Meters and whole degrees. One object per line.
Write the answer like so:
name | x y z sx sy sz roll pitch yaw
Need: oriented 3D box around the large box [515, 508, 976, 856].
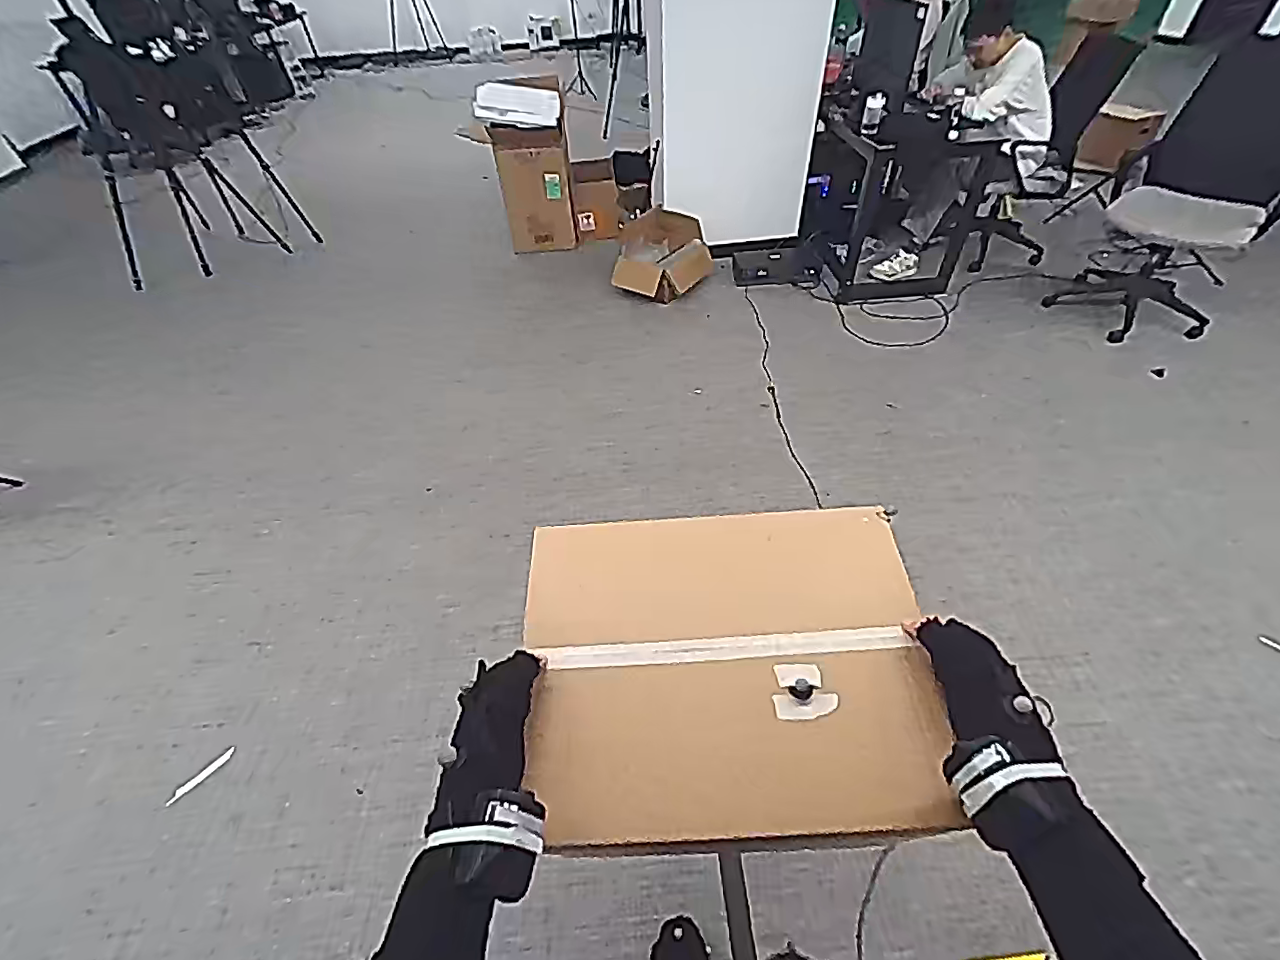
large box | 0.089 0.257 0.664 0.408 0.320 0.320 -4 54 1
